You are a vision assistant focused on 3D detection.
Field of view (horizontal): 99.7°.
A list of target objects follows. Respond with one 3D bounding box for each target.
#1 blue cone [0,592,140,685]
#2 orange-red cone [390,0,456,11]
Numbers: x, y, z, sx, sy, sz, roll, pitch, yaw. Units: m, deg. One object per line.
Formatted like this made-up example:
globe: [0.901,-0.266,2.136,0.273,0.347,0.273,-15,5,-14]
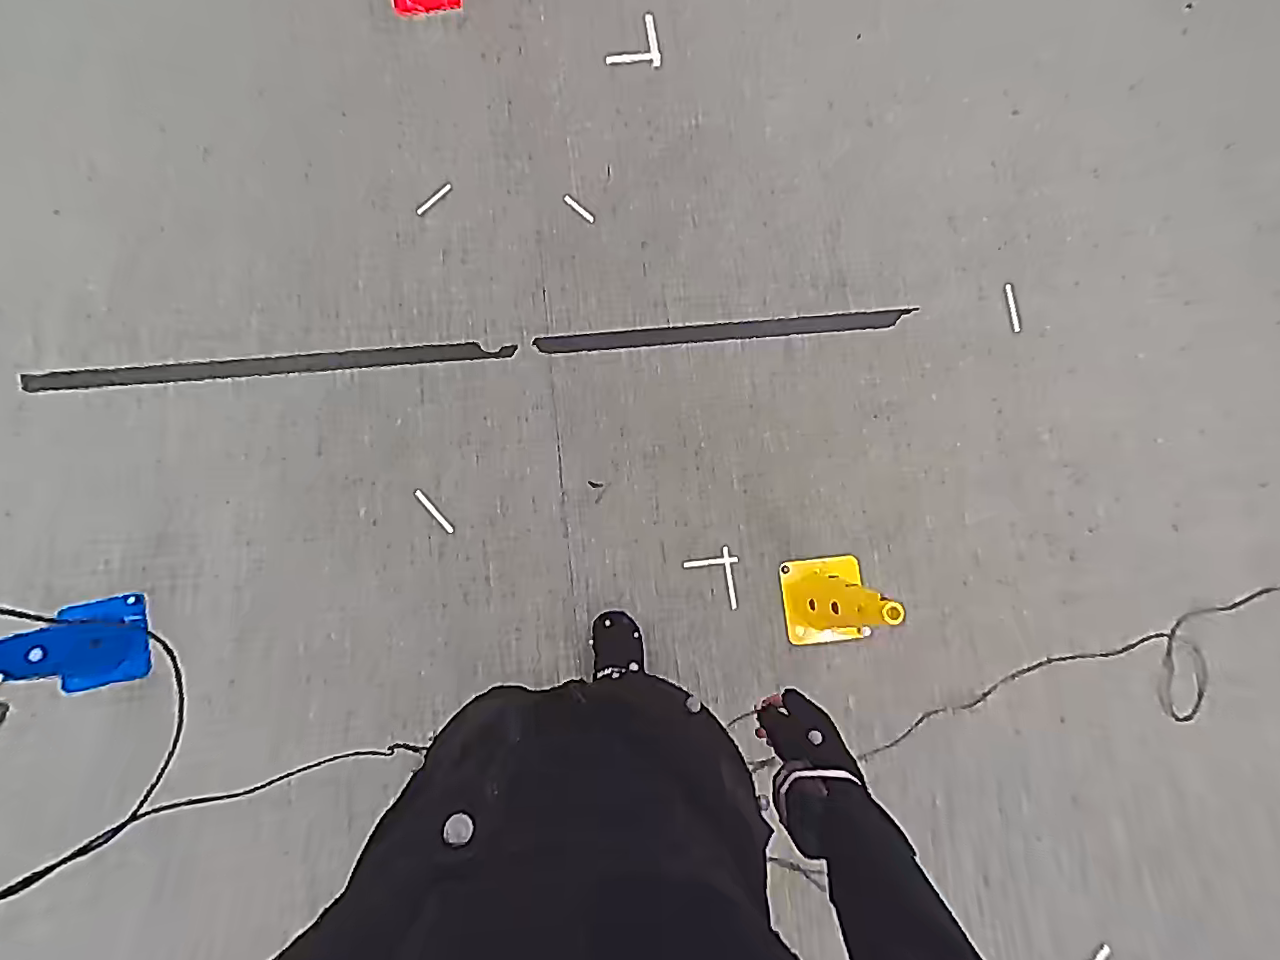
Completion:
blue cone: [-1.266,0.348,1.105,0.193,0.380,0.192,-11,81,-3]
orange-red cone: [-0.635,-1.481,1.402,0.199,0.360,0.198,-10,81,-2]
